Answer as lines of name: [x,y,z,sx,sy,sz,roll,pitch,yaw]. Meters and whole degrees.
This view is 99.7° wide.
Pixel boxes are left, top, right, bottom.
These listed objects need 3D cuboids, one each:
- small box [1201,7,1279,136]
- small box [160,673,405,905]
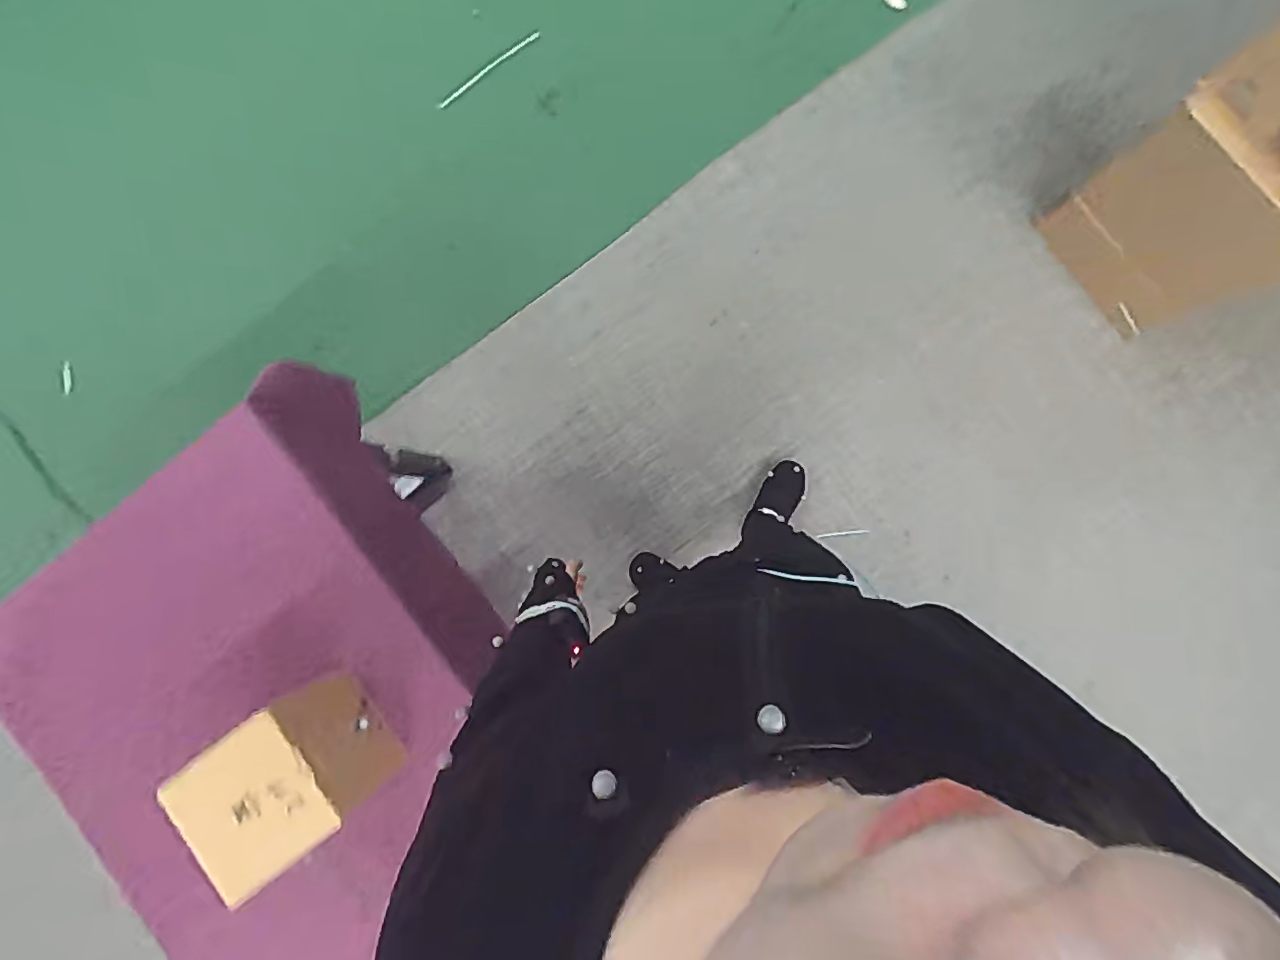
small box: [1.167,-0.759,0.941,0.179,0.176,0.168,-36,87,3]
small box: [-0.460,0.394,0.724,0.179,0.176,0.168,-38,86,2]
